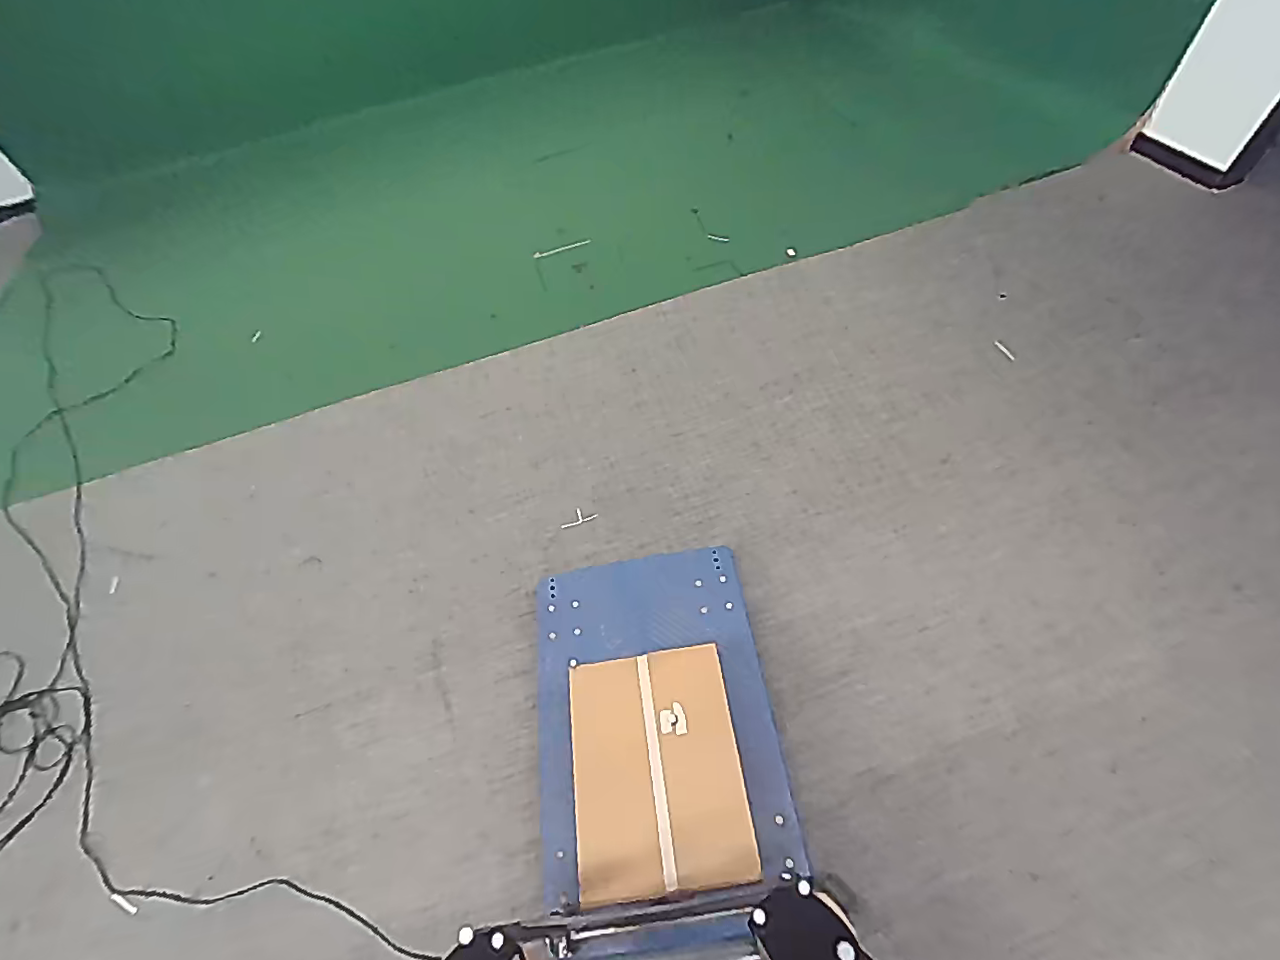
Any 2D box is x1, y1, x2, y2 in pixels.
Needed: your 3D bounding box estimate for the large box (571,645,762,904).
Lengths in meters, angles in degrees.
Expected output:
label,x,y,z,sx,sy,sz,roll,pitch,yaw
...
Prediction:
label,x,y,z,sx,sy,sz,roll,pitch,yaw
large box,0.049,0.613,1.137,0.320,0.320,0.408,-9,54,1
